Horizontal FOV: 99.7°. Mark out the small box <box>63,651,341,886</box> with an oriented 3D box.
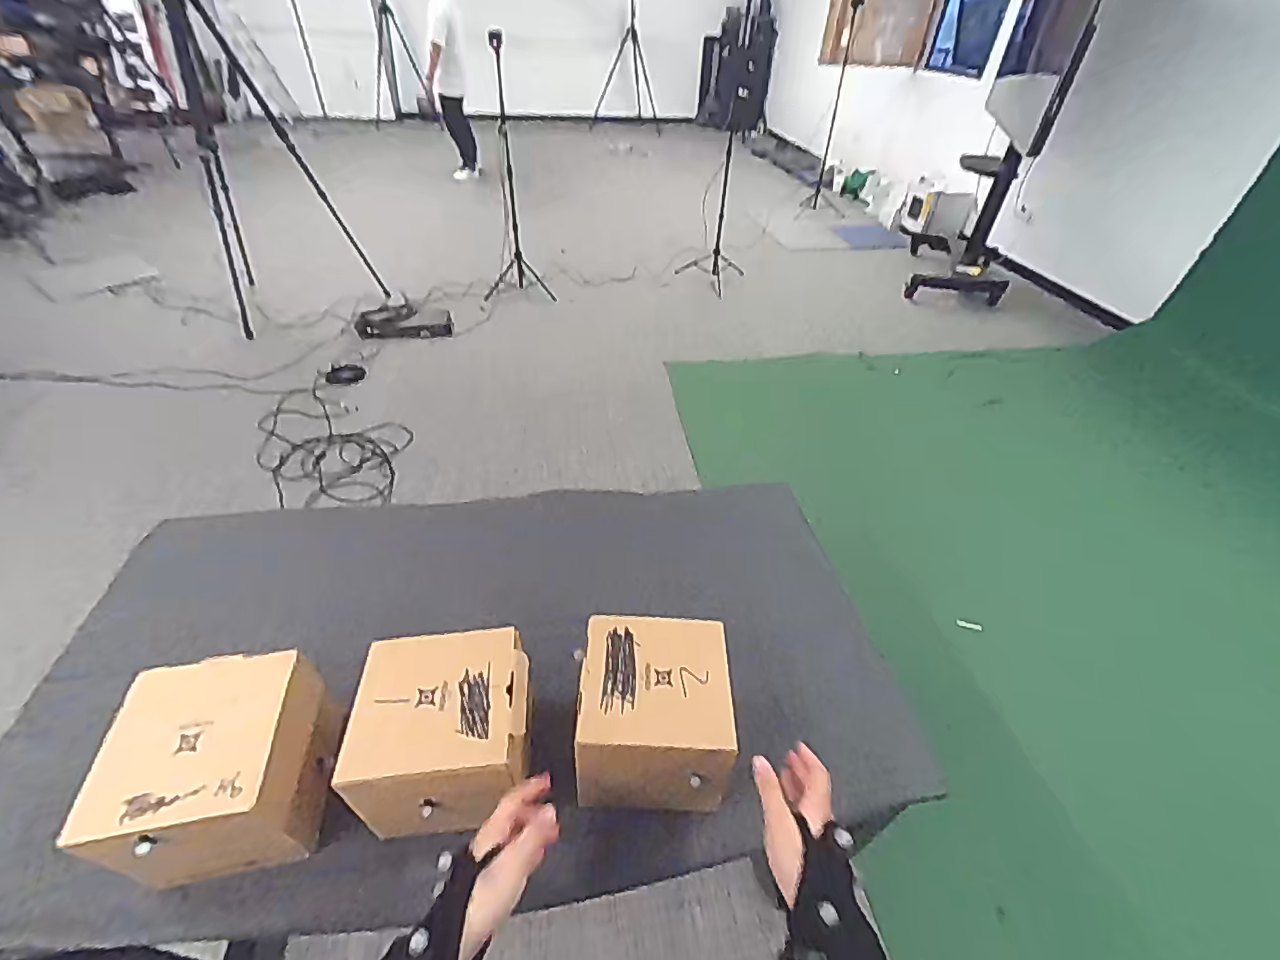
[{"bbox_3d":[-0.466,0.326,0.618,0.168,0.176,0.179,-6,42,-9],"label":"small box"}]
